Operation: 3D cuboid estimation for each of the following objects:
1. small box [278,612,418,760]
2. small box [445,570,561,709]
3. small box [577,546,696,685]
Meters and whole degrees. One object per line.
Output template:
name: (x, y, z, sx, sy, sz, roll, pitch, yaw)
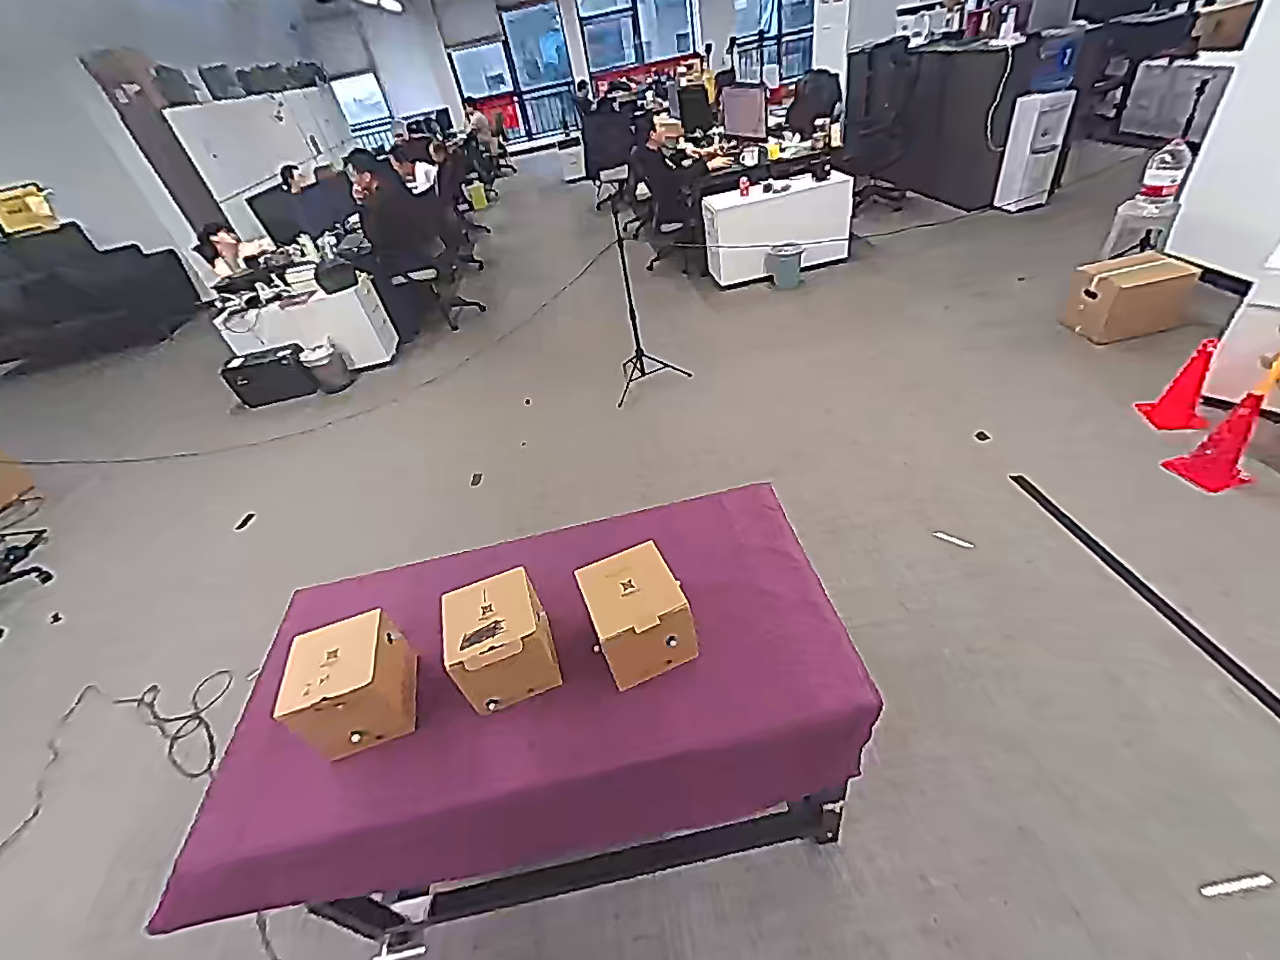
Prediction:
small box: (-0.534, 0.388, 1.021, 0.168, 0.176, 0.179, -18, 39, -7)
small box: (-0.262, 0.313, 1.041, 0.168, 0.176, 0.179, -19, 38, -8)
small box: (-0.004, 0.264, 1.034, 0.168, 0.176, 0.179, -20, 39, -10)
